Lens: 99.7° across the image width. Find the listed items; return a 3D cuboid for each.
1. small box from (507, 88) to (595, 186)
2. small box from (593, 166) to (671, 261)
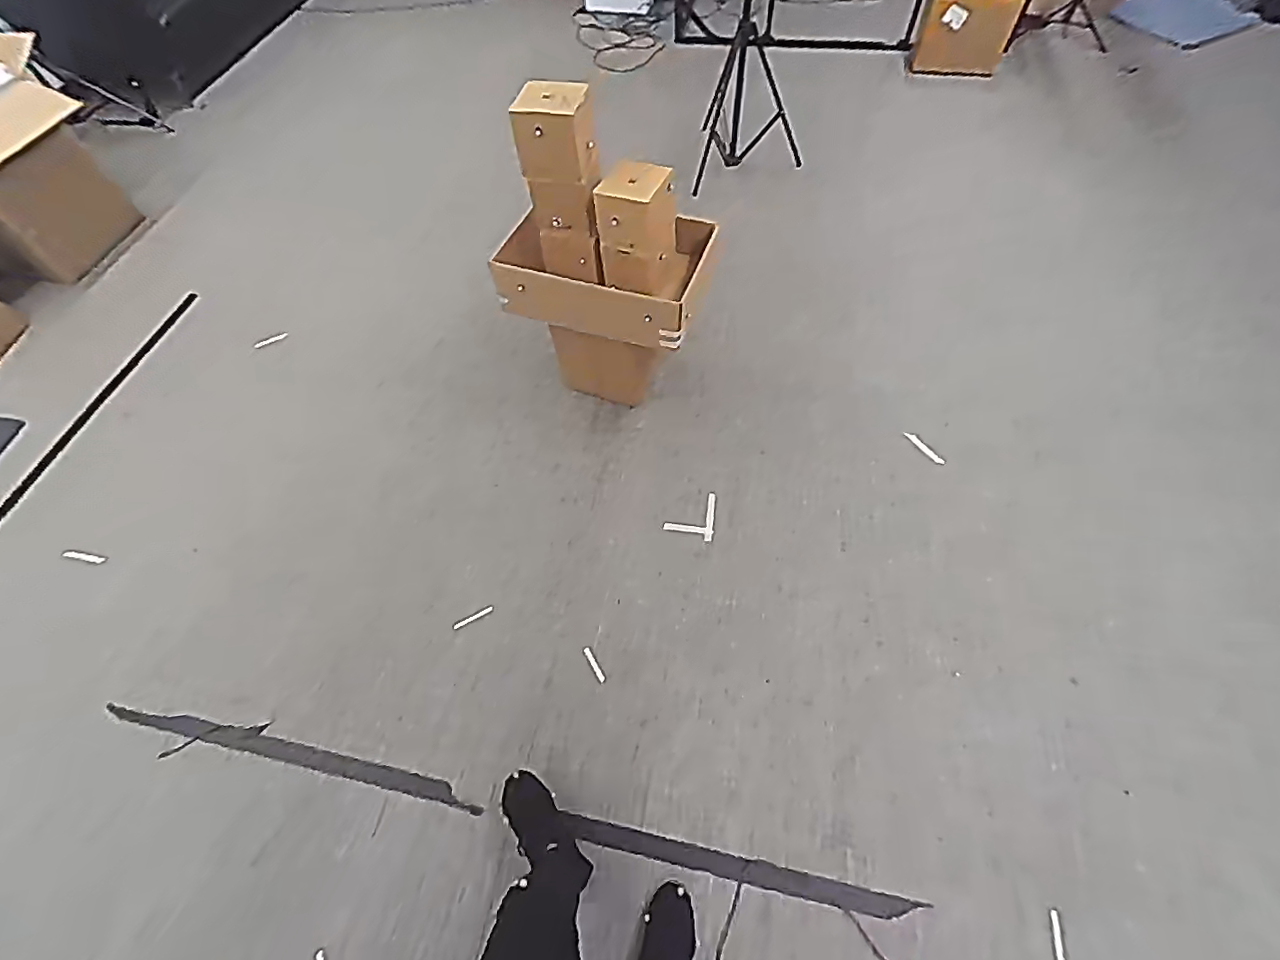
[{"bbox_3d":[-0.230,-0.918,1.452,0.179,0.176,0.168,9,59,8],"label":"small box"},{"bbox_3d":[-0.014,-0.752,1.532,0.168,0.176,0.179,19,60,16],"label":"small box"}]
